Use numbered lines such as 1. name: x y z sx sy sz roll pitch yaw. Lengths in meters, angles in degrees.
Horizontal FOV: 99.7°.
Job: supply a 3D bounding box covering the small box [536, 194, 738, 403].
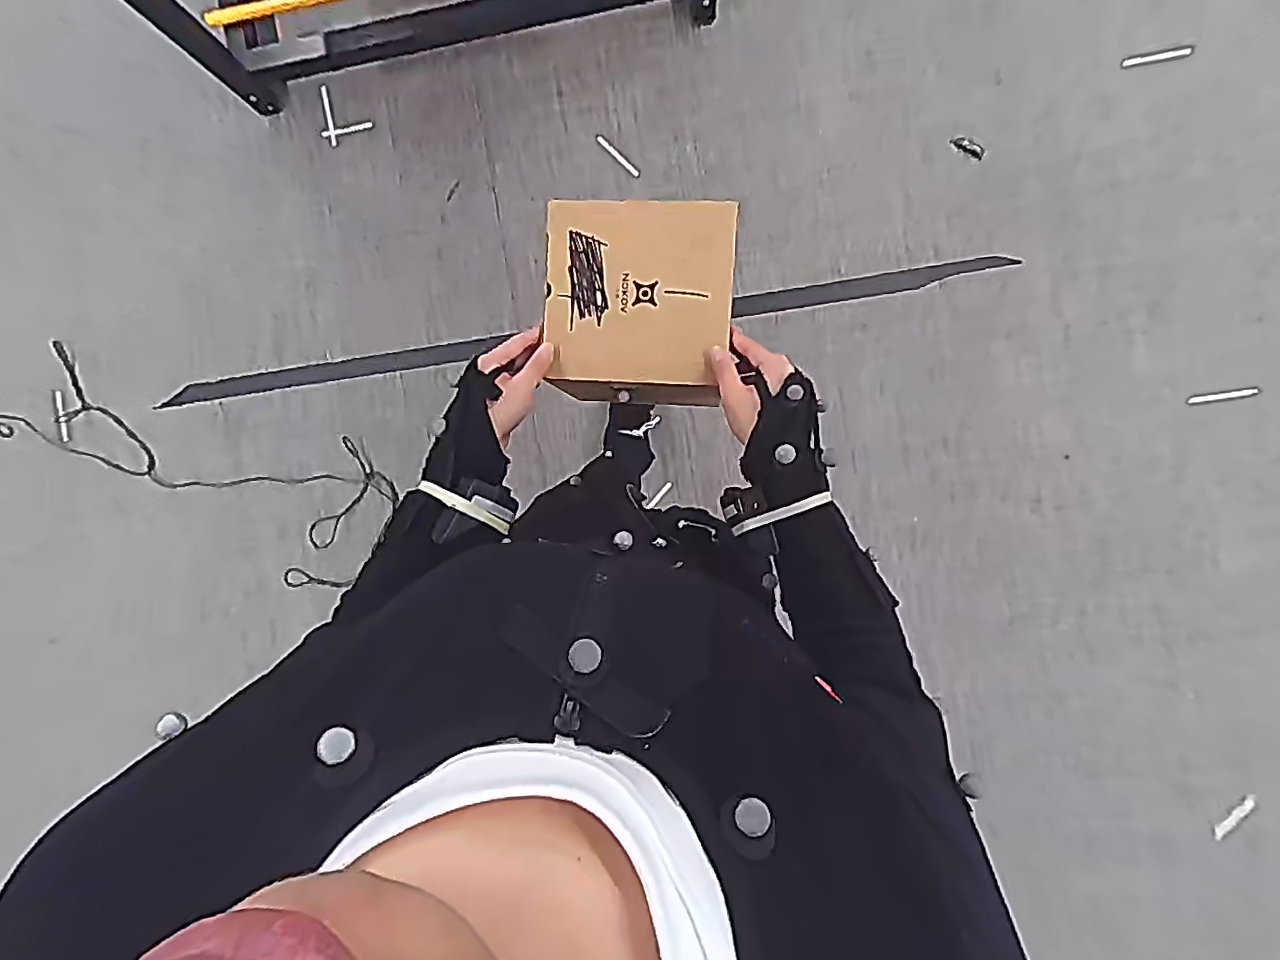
1. small box: 0.004 -0.175 0.567 0.179 0.176 0.168 4 92 6
